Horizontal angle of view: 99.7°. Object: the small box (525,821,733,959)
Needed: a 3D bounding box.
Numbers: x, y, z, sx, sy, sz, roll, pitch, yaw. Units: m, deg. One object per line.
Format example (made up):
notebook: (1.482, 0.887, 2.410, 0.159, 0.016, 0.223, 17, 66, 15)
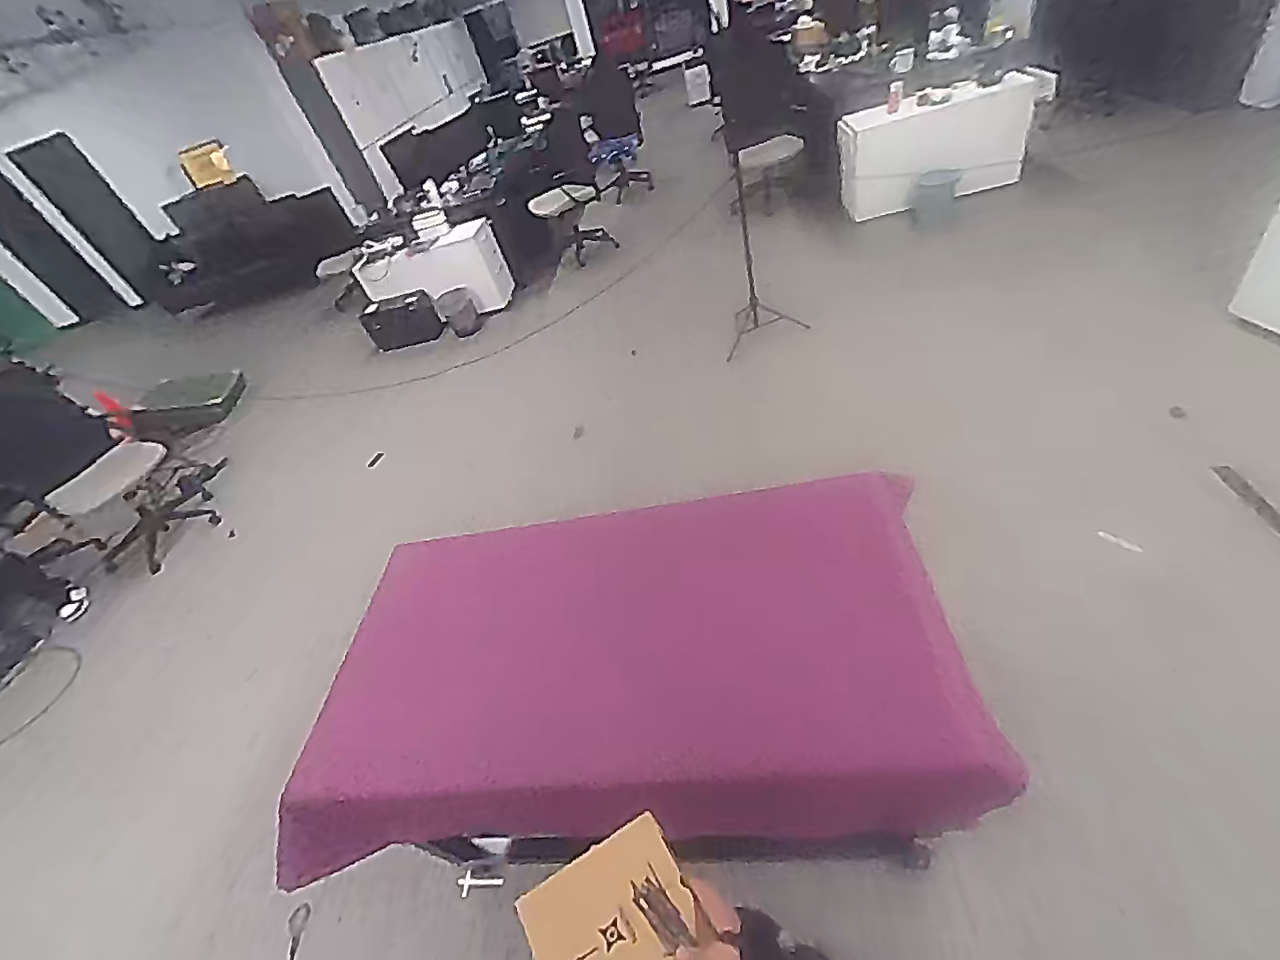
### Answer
small box: (-0.012, 0.547, 0.626, 0.179, 0.176, 0.168, -22, 44, -21)
